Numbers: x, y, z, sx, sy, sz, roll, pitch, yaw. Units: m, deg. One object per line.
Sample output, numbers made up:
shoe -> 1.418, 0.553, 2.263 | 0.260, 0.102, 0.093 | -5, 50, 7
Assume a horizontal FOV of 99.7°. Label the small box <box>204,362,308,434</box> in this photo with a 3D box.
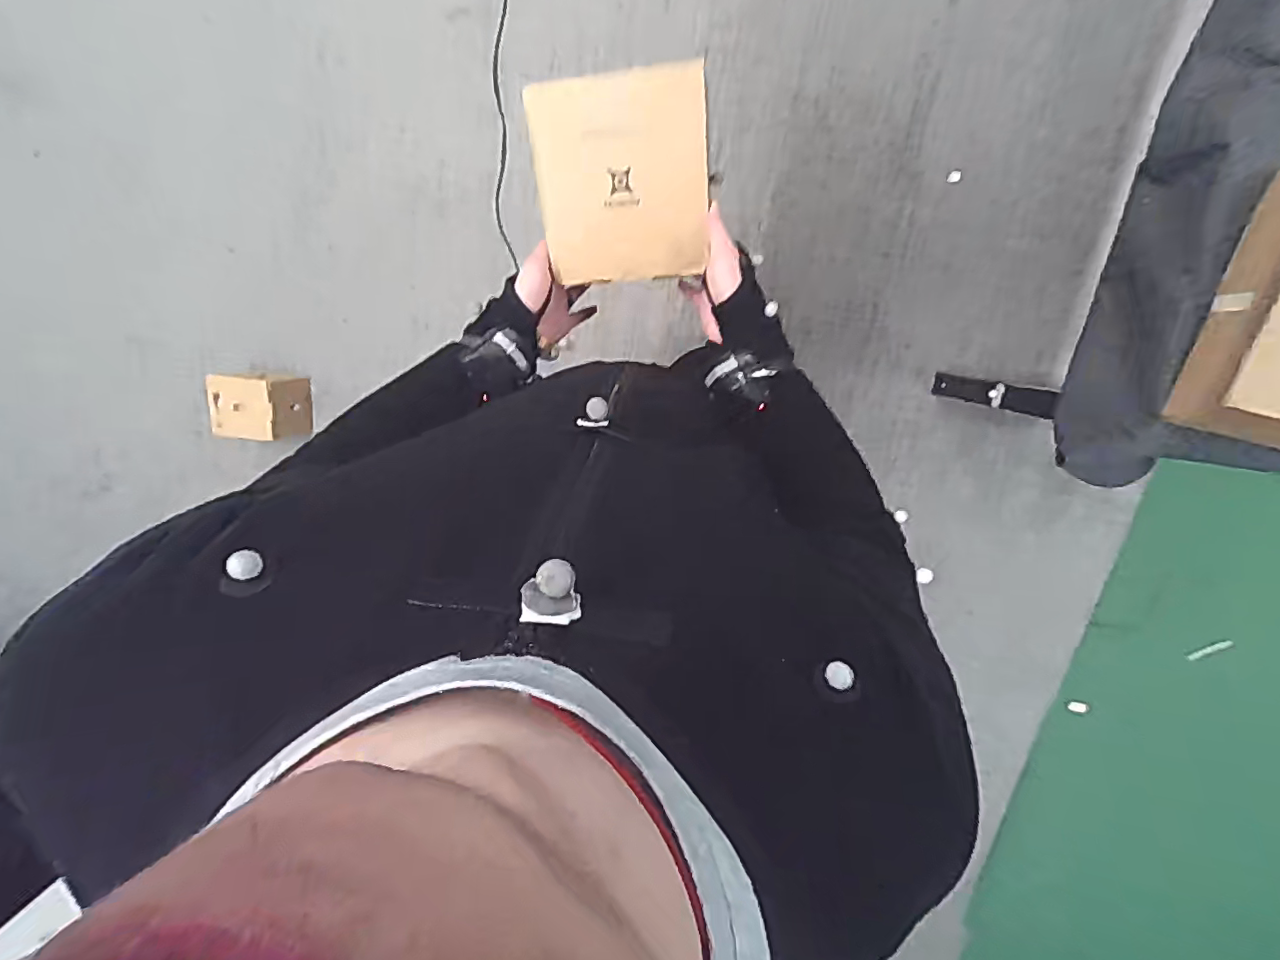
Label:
small box -> -1.067, -0.237, 1.523 | 0.179, 0.176, 0.168 | 7, 108, 2
